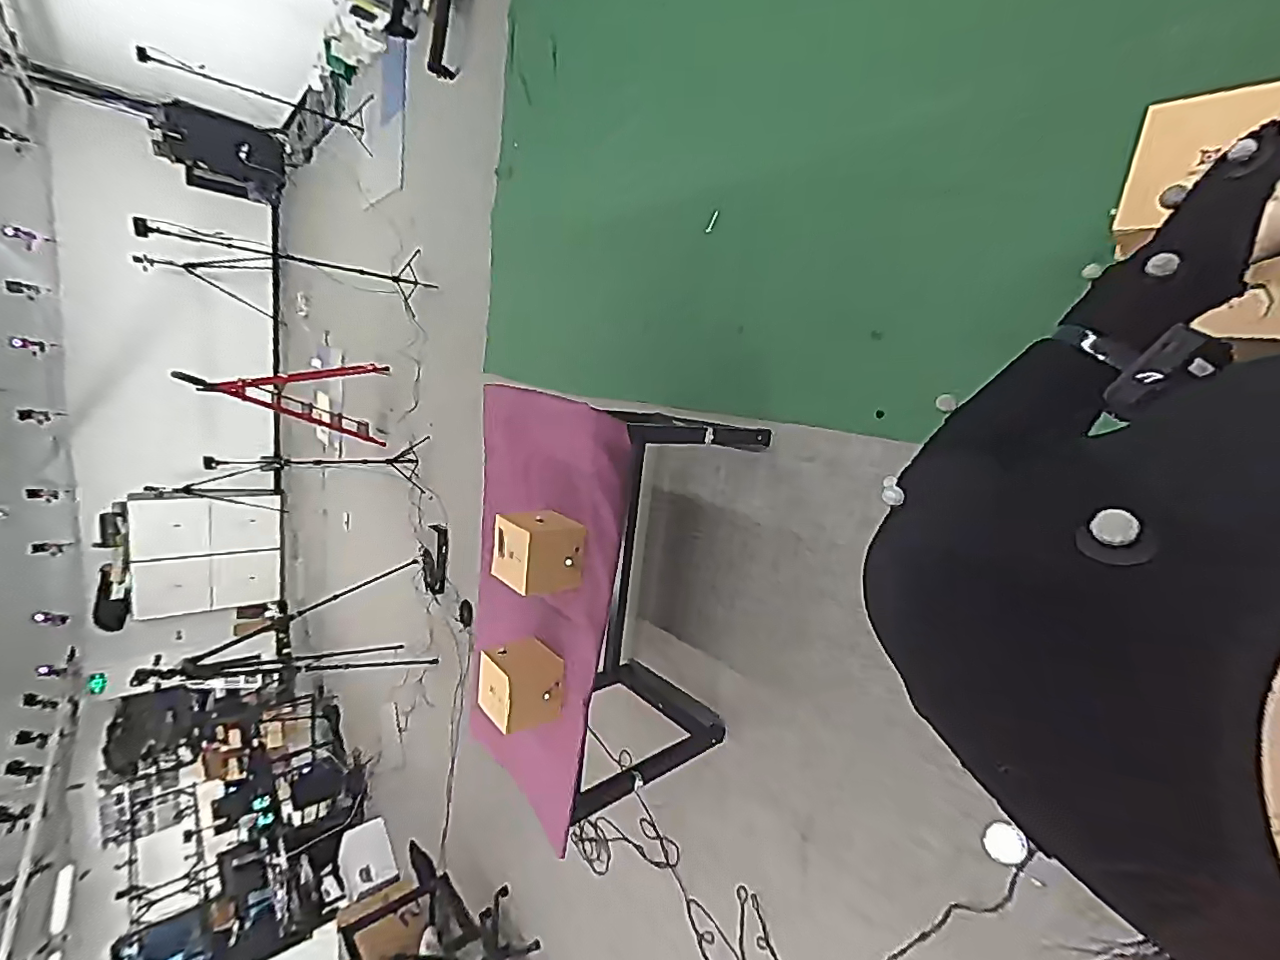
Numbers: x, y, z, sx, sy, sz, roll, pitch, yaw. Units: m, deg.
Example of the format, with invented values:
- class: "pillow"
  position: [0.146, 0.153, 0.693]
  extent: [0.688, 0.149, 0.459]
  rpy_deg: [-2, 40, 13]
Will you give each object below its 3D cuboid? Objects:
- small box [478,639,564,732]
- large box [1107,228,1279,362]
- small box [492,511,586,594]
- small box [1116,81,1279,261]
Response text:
- class: "small box"
  position: [-0.332, 0.558, 1.497]
  extent: [0.179, 0.176, 0.168]
  rpy_deg: [17, 105, 48]
- class: "large box"
  position: [1.073, -0.365, 0.878]
  extent: [0.408, 0.320, 0.320]
  rpy_deg: [20, 107, 45]
- class: "small box"
  position: [-0.264, 0.179, 1.408]
  extent: [0.179, 0.176, 0.168]
  rpy_deg: [18, 105, 46]
- class: "small box"
  position: [0.829, -0.433, 0.783]
  extent: [0.168, 0.176, 0.179]
  rpy_deg: [20, 106, 45]
